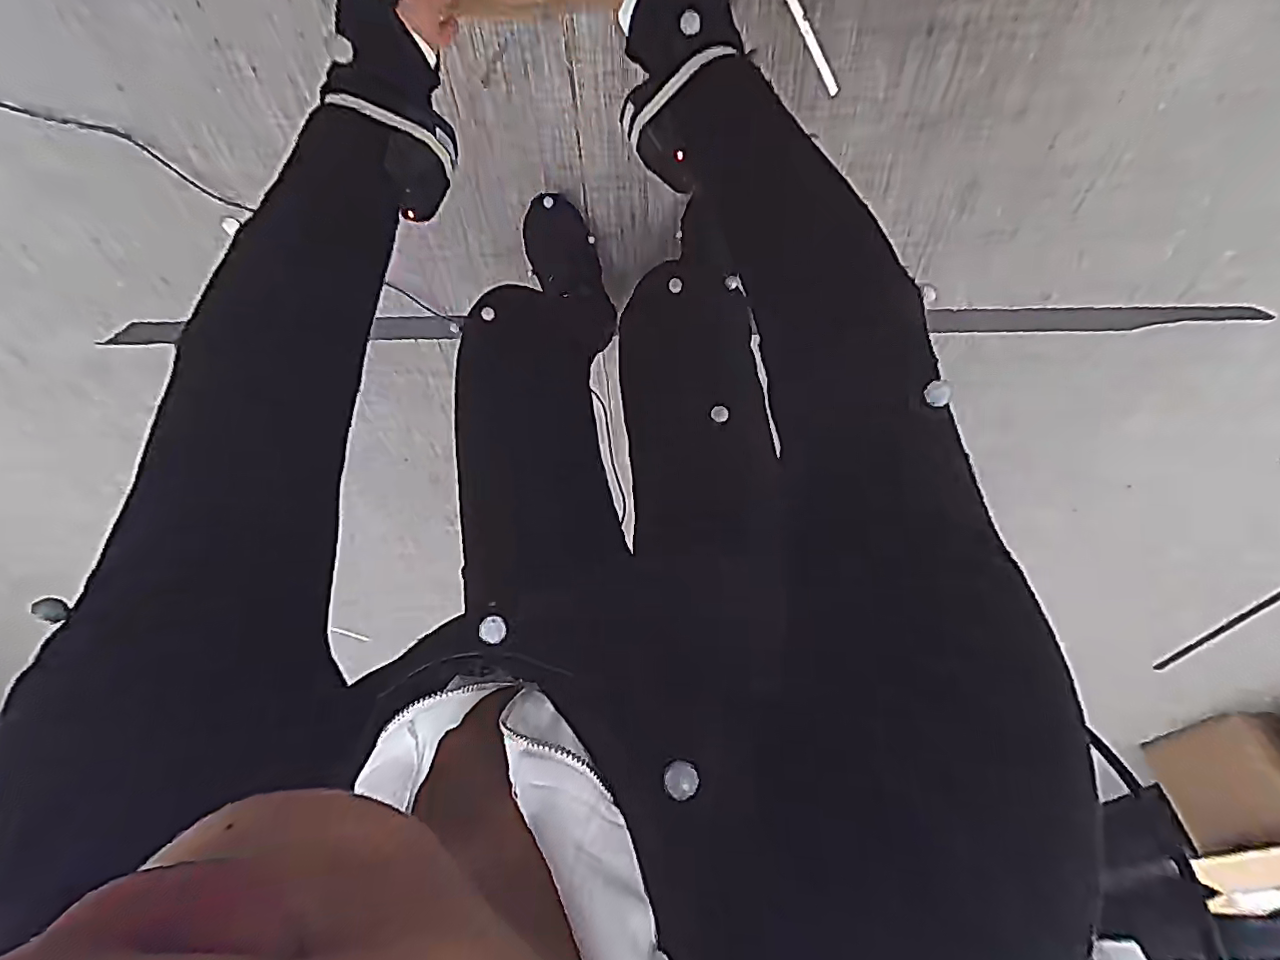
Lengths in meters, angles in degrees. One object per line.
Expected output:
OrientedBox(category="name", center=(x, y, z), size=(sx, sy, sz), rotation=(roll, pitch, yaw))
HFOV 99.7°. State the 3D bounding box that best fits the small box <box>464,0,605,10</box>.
OrientedBox(category="small box", center=(-0.093, -0.497, 0.428), size=(0.168, 0.176, 0.179), rotation=(-4, 130, 2))
